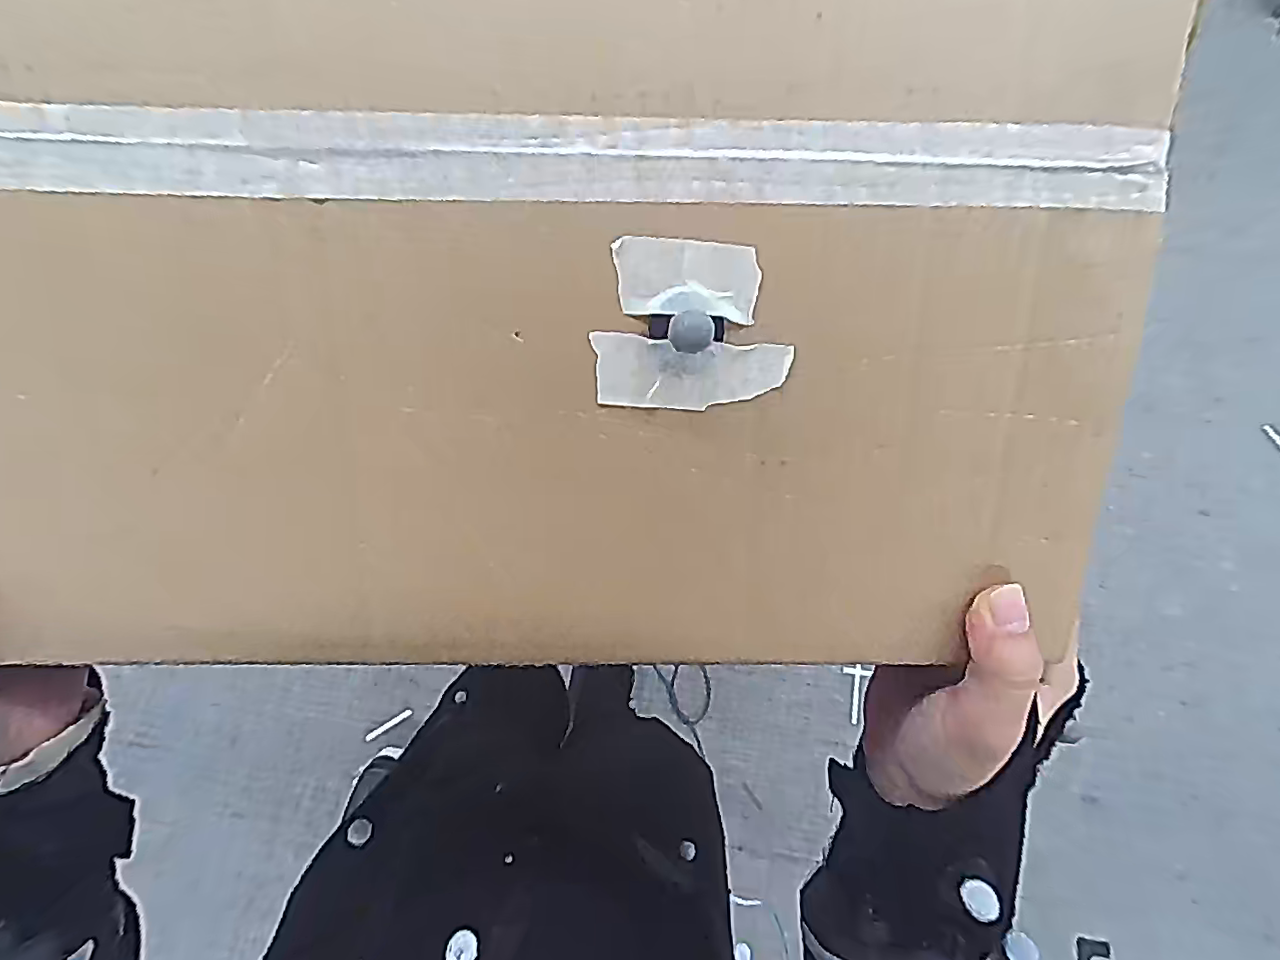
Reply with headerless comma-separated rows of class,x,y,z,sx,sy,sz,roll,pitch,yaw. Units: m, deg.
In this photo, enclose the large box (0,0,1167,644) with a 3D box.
large box,-0.053,-0.125,0.309,0.408,0.320,0.320,0,103,-2
